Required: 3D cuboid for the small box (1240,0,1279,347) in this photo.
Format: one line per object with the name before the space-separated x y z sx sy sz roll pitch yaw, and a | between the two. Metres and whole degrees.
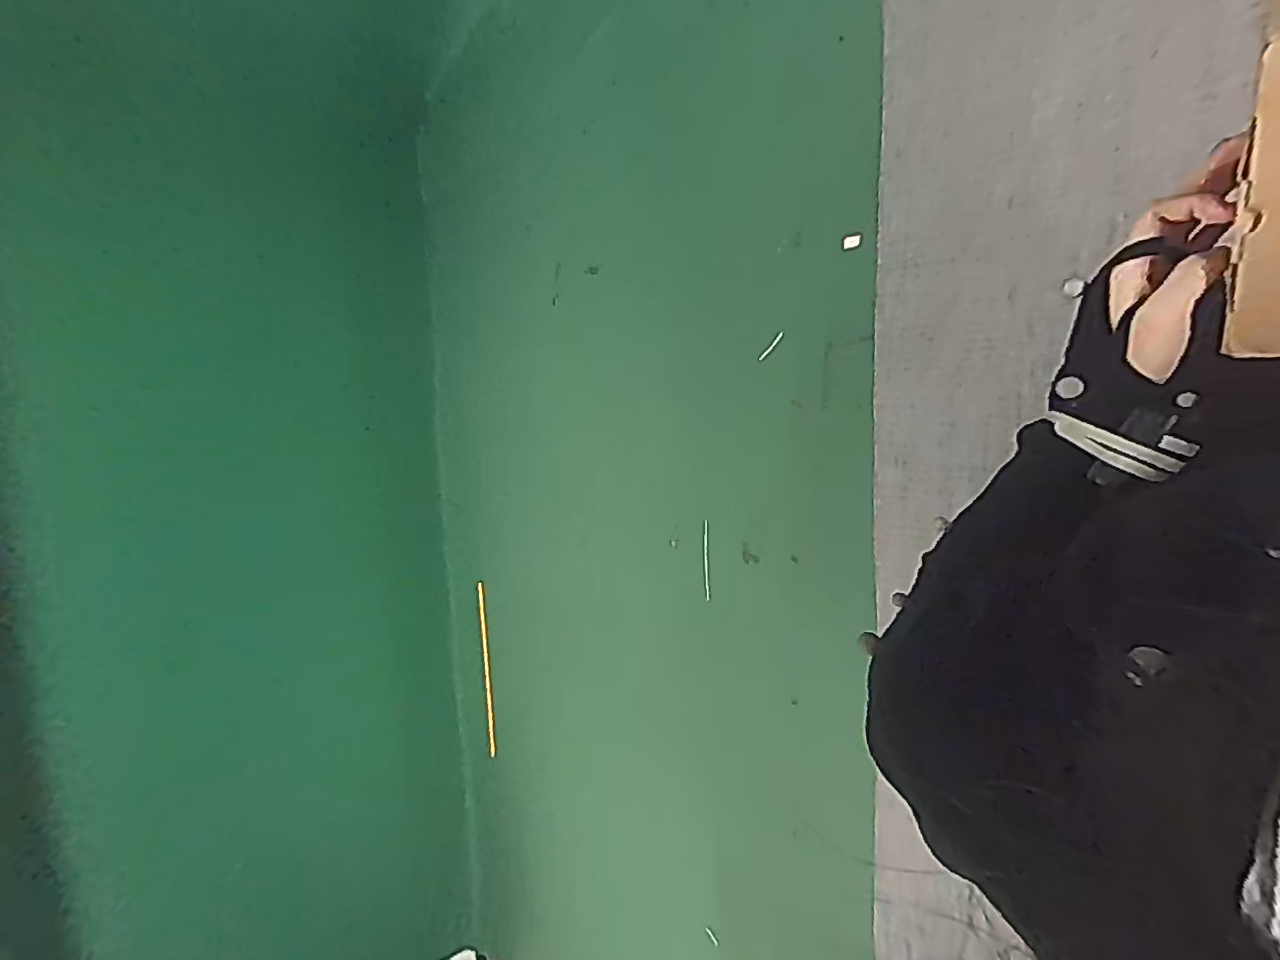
small box | 0.433 -0.187 0.262 0.179 0.176 0.168 7 137 47
